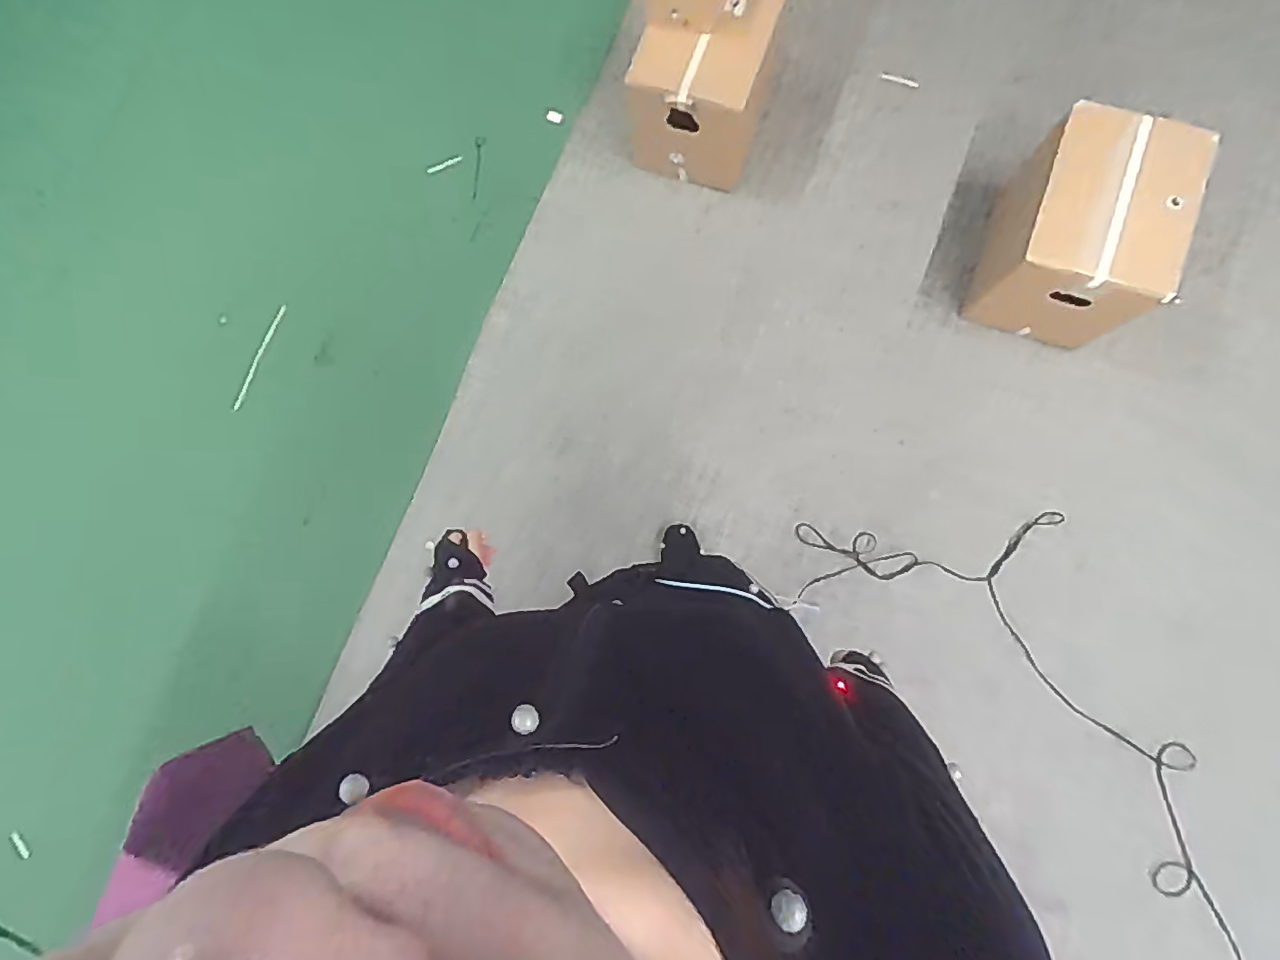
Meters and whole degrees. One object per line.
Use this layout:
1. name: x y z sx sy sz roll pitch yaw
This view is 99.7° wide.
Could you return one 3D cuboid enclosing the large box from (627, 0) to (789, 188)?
1. large box: 0.192 -1.104 1.487 0.320 0.320 0.408 20 85 8
